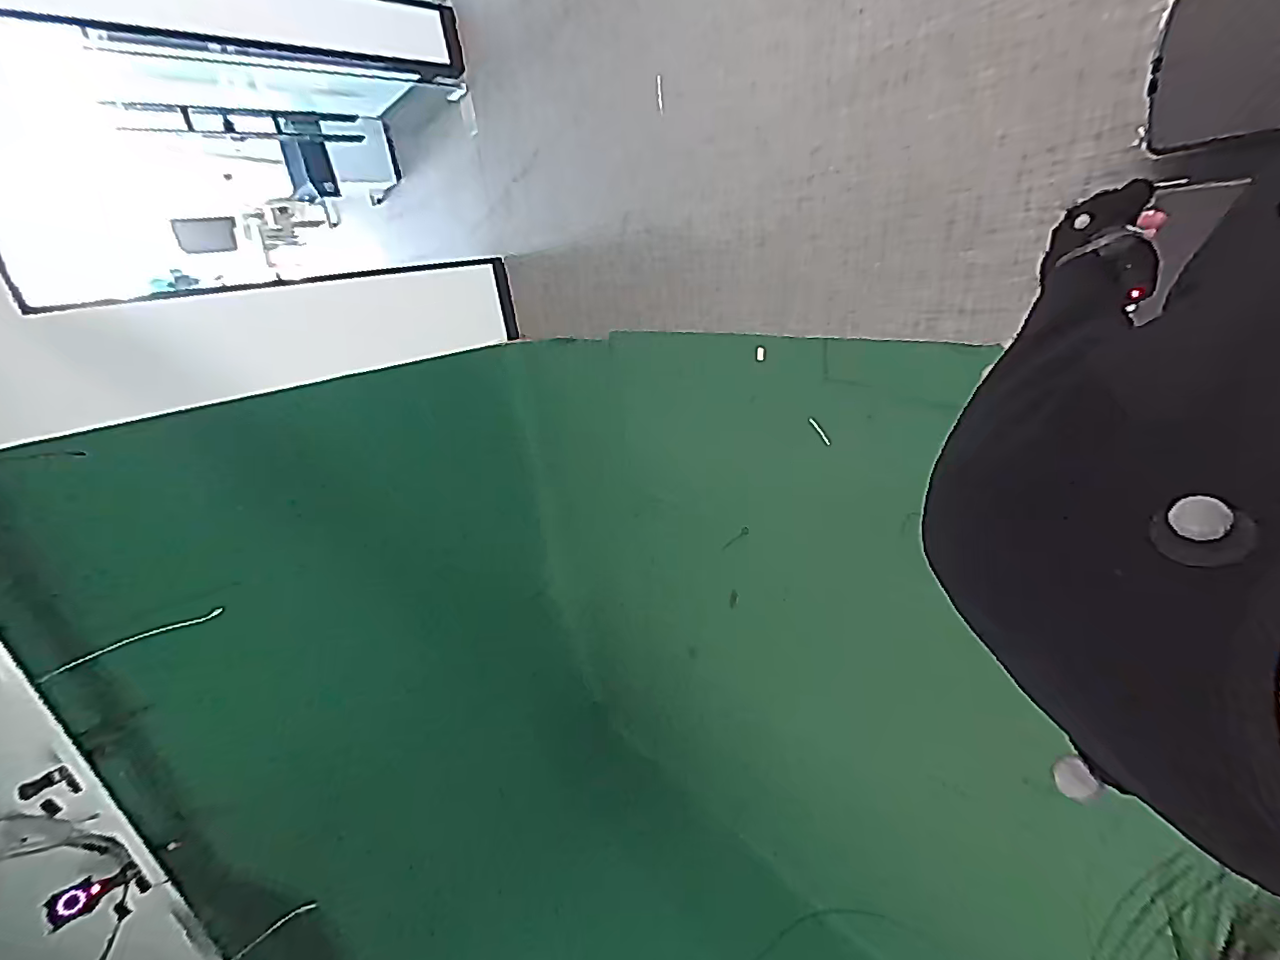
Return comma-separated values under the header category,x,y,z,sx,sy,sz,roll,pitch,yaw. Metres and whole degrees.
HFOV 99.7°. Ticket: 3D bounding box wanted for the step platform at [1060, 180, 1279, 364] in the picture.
category,x,y,z,sx,sy,sz,roll,pitch,yaw
step platform,1.097,-0.327,0.833,0.684,0.204,0.286,16,121,45
